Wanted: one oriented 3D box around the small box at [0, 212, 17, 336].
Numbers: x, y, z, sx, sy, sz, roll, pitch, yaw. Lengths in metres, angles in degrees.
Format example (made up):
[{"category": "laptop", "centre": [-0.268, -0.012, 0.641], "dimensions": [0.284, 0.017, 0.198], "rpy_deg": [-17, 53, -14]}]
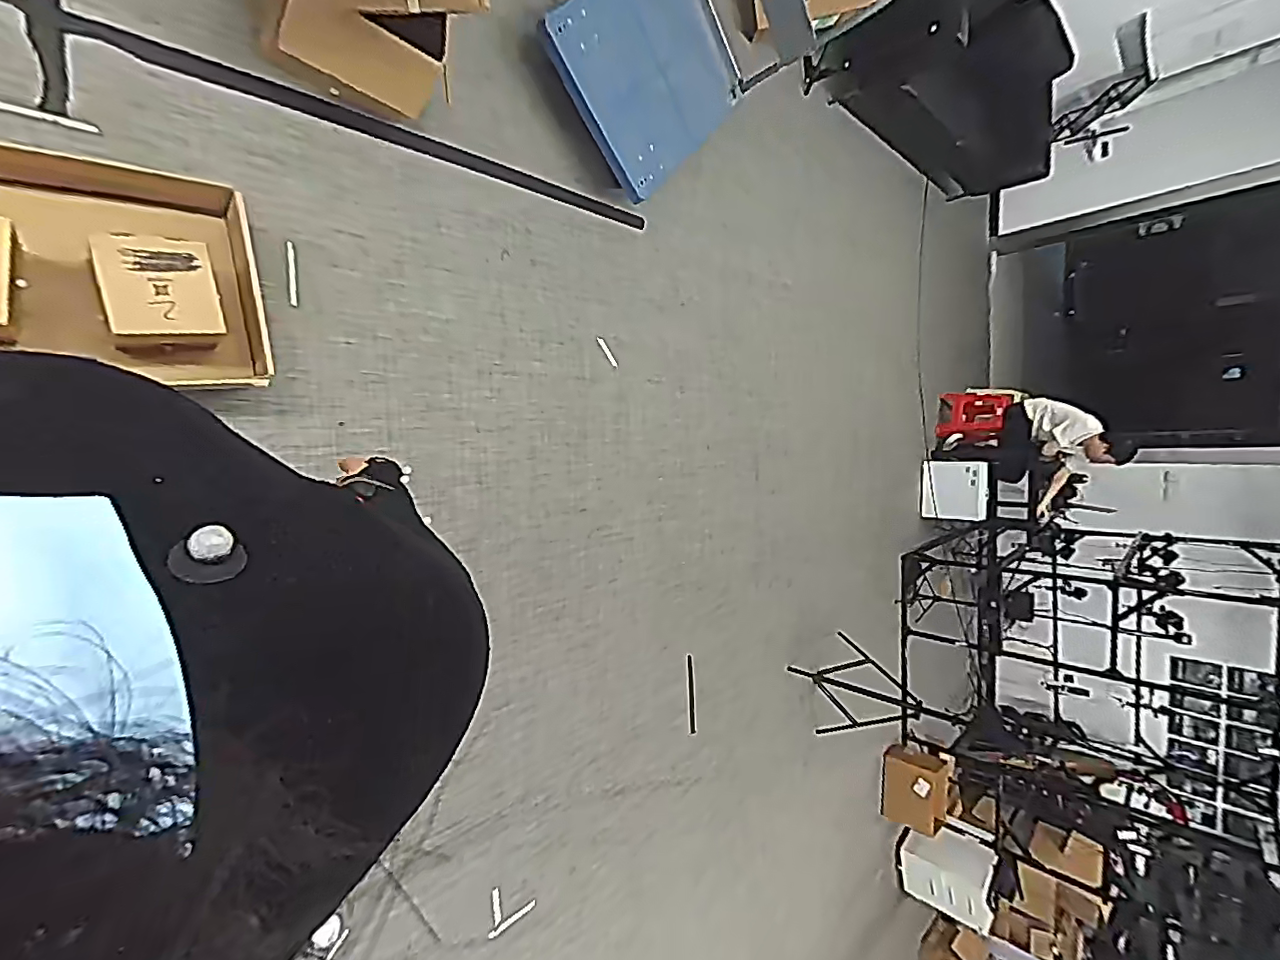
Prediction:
[{"category": "small box", "centre": [-1.126, -0.344, 0.860], "dimensions": [0.168, 0.176, 0.179], "rpy_deg": [2, 90, -46]}]
